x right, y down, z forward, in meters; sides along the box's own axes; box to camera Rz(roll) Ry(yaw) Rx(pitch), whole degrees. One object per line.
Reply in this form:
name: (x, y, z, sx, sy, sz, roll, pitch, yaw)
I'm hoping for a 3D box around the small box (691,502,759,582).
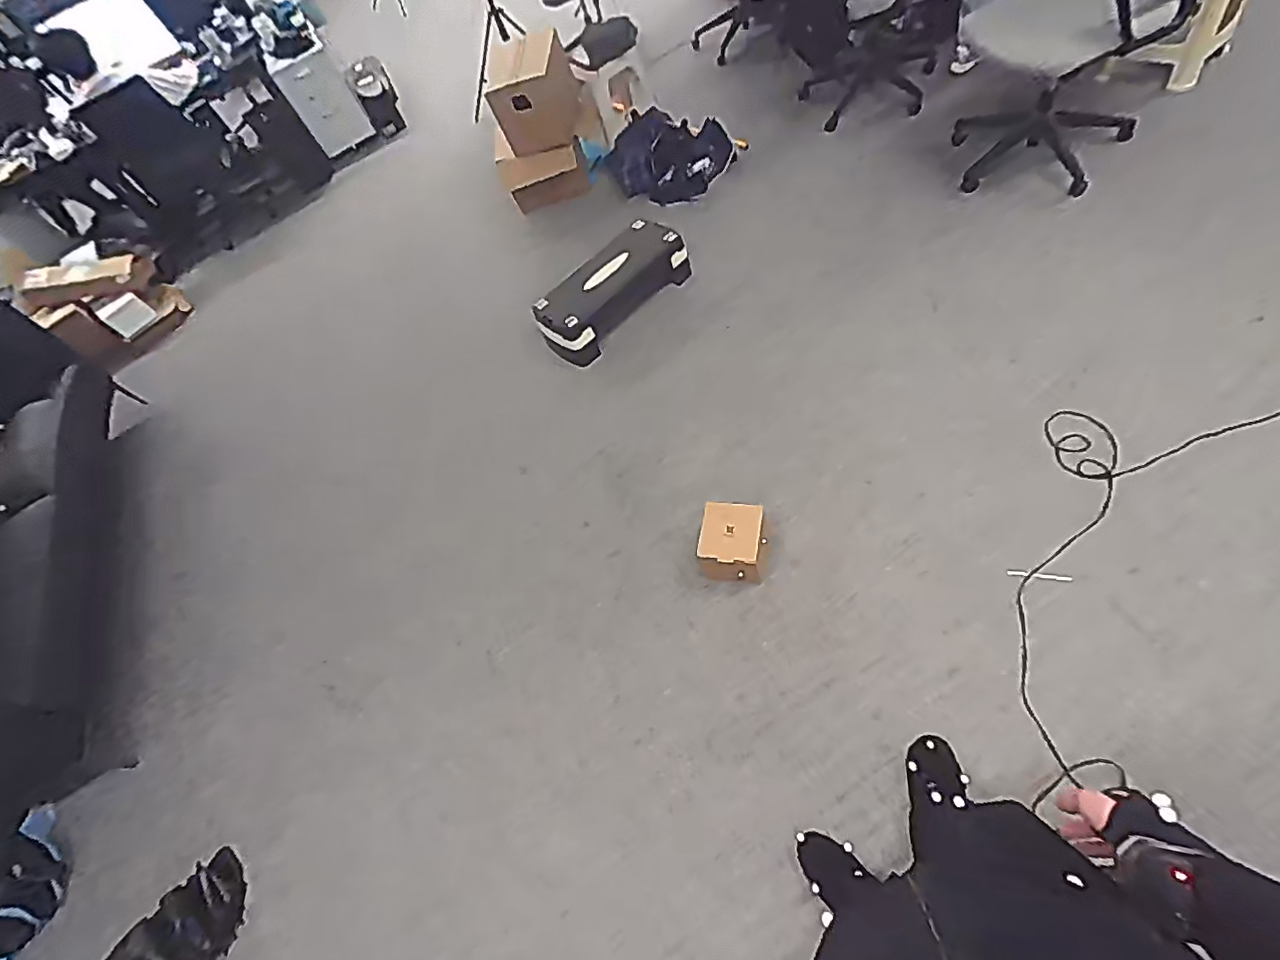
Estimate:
small box: (0.255, 0.183, 1.582, 0.168, 0.176, 0.179, 4, 59, 18)
